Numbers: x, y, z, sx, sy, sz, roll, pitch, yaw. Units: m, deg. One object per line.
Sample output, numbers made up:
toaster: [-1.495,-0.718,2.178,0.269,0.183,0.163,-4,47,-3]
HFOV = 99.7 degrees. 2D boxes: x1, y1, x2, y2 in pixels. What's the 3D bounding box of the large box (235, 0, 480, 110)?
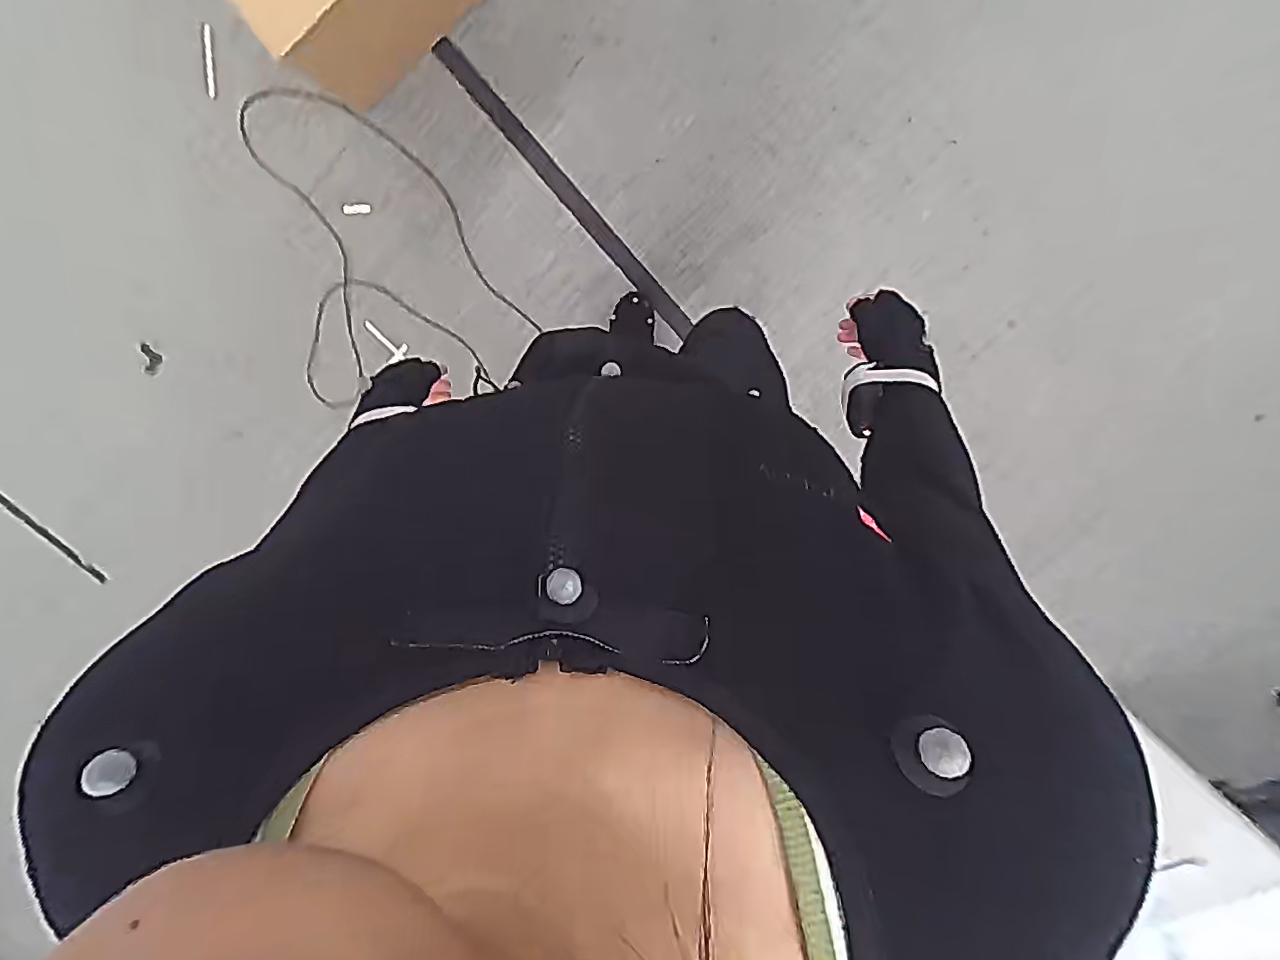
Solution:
large box: [-0.566,-1.027,1.037,0.408,0.320,0.320,-34,104,12]
